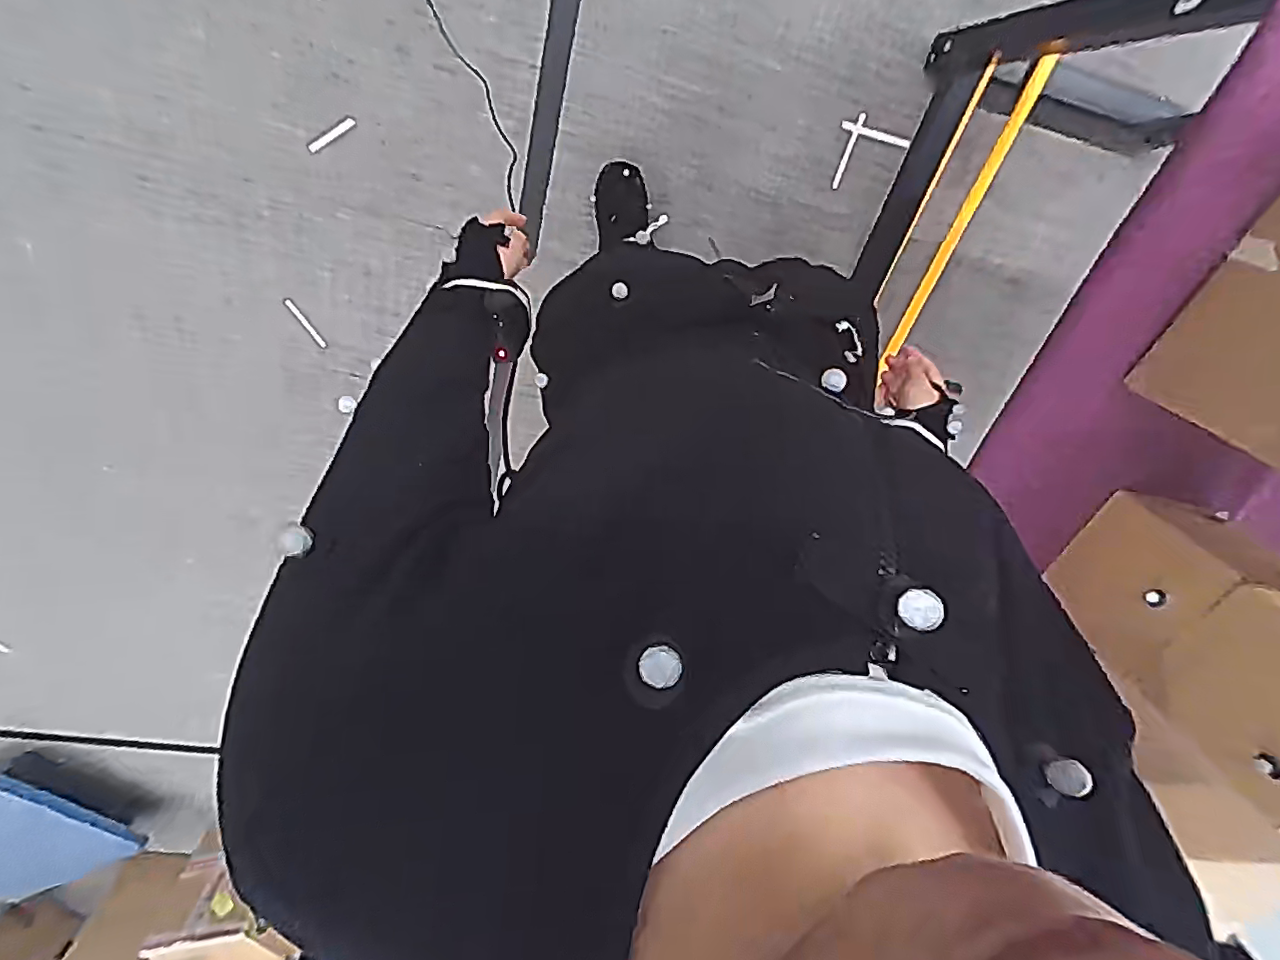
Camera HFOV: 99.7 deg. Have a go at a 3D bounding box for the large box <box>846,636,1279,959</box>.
[{"bbox_3d":[0.600,0.463,0.804,0.408,0.320,0.320,10,122,-12],"label":"large box"}]
